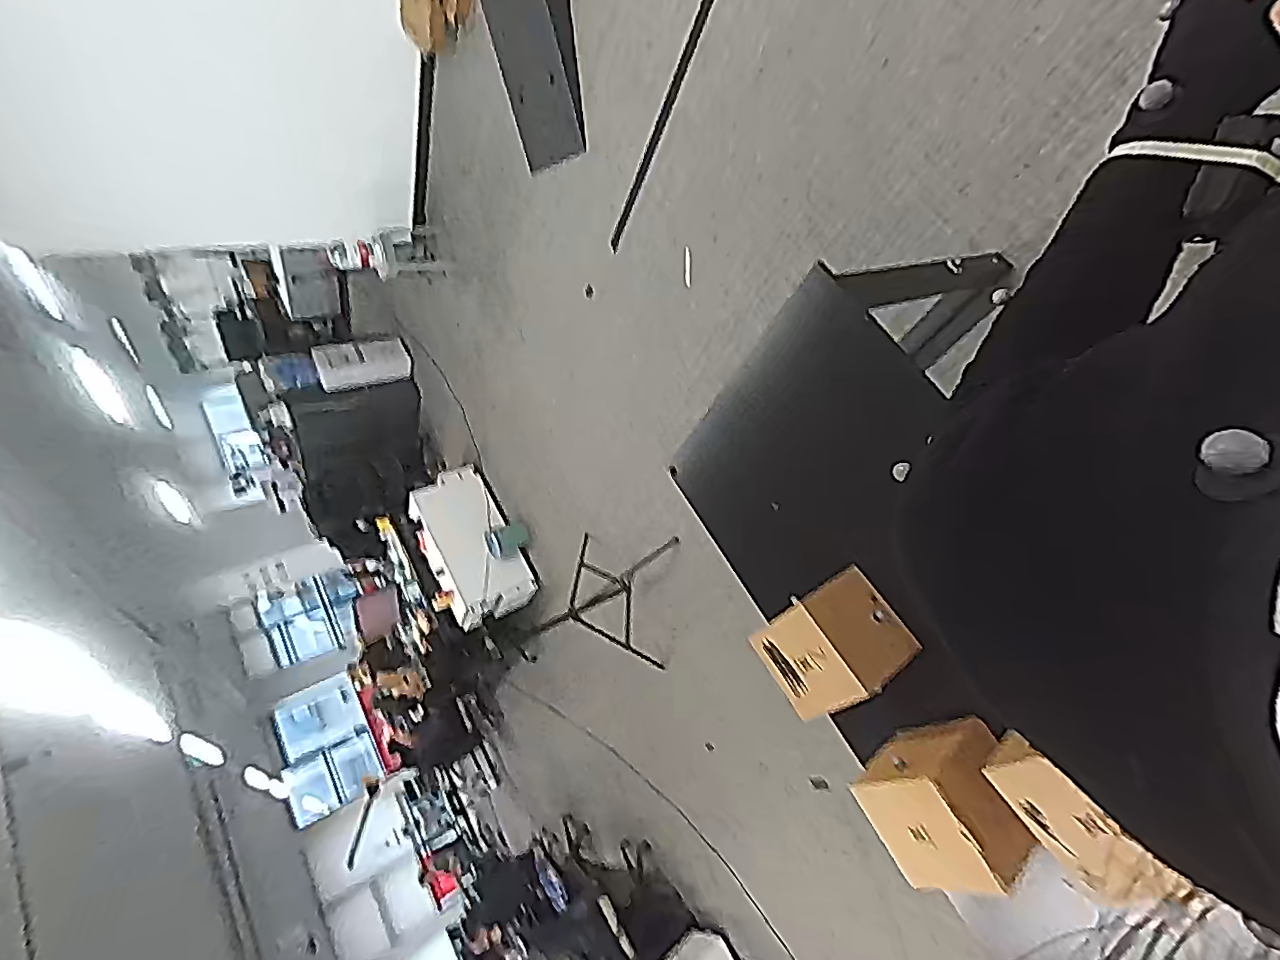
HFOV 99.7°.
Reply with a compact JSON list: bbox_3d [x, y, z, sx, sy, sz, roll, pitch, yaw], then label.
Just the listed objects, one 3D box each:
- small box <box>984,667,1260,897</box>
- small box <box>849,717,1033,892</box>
[{"bbox_3d":[0.573,0.355,0.649,0.168,0.176,0.179,54,143,23],"label":"small box"},{"bbox_3d":[0.482,0.503,0.856,0.168,0.176,0.179,58,144,17],"label":"small box"}]
